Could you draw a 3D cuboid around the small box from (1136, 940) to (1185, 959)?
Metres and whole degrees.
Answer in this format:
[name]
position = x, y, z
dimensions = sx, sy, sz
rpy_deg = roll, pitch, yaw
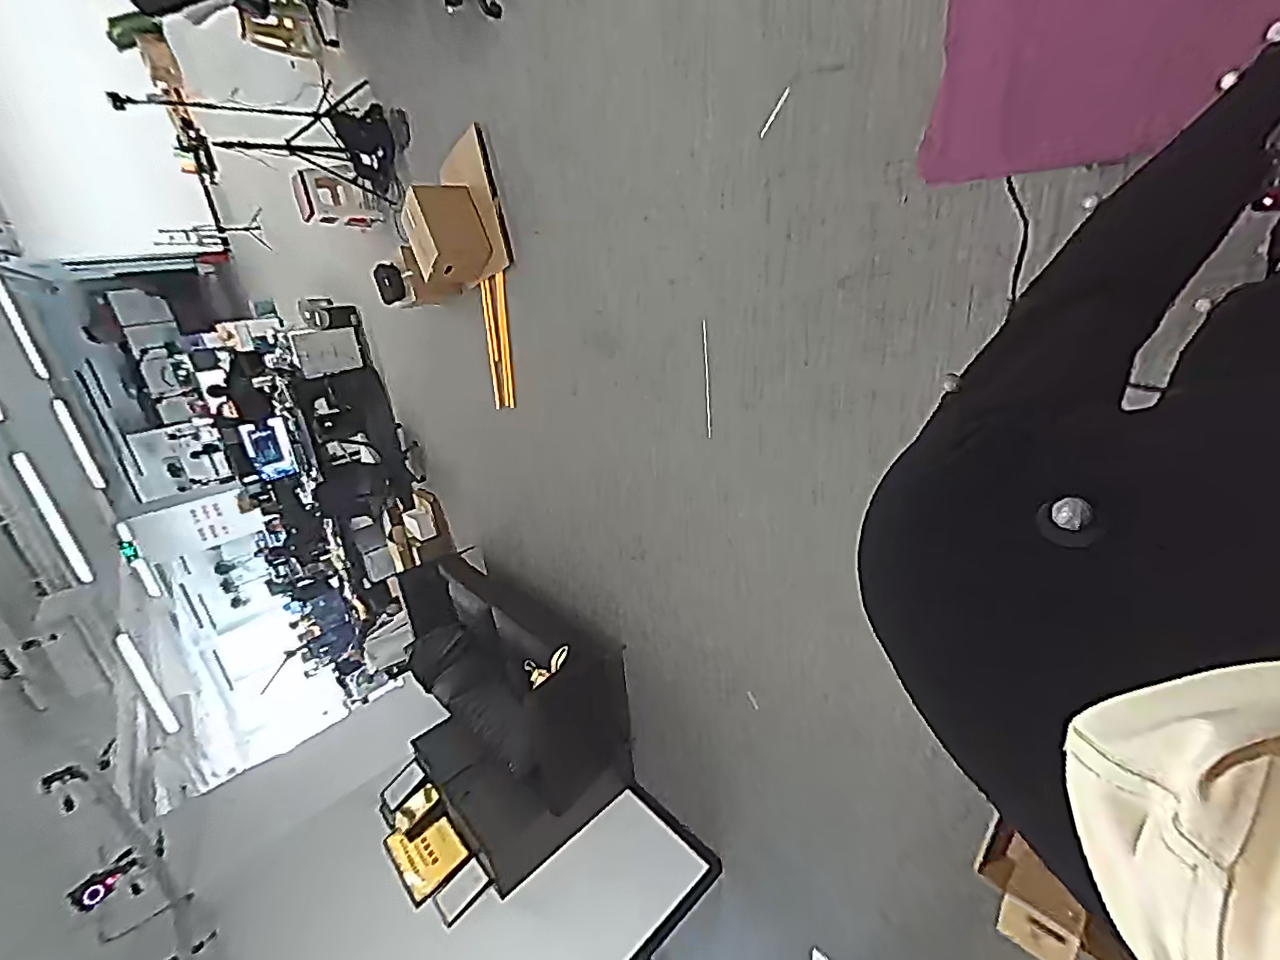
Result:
[small box]
position = 1.294, 1.282, 1.300
dimensions = 0.168, 0.176, 0.179
rpy_deg = 21, 125, 44
